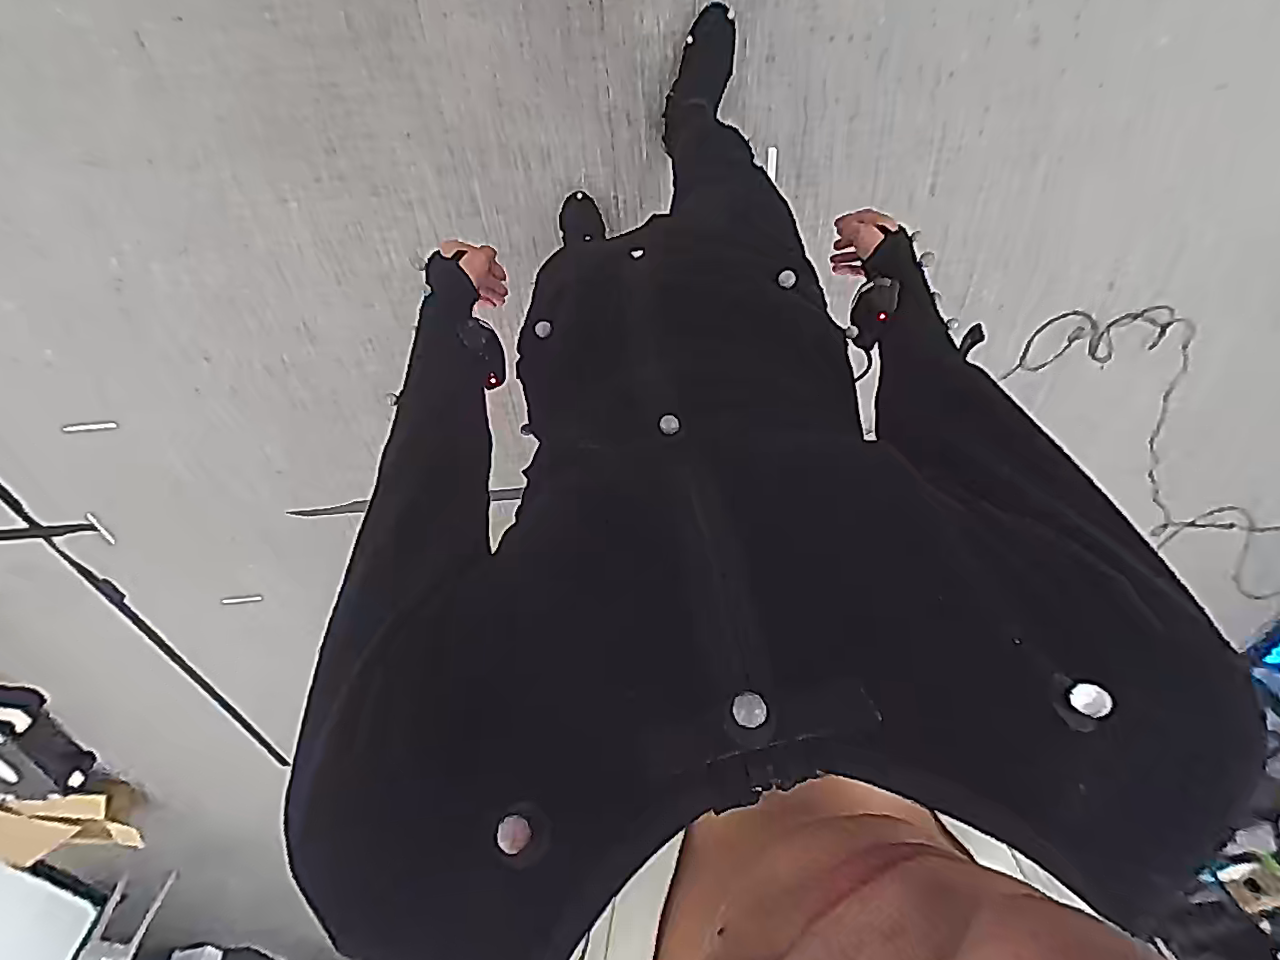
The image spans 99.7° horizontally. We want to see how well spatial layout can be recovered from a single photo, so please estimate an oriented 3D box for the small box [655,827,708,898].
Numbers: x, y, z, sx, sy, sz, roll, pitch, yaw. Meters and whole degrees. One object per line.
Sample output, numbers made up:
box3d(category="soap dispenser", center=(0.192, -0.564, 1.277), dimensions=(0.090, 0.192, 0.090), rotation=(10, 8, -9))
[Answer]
box3d(category="small box", center=(0.147, 1.381, 1.954), dimensions=(0.179, 0.176, 0.168), rotation=(-6, 130, 1))
